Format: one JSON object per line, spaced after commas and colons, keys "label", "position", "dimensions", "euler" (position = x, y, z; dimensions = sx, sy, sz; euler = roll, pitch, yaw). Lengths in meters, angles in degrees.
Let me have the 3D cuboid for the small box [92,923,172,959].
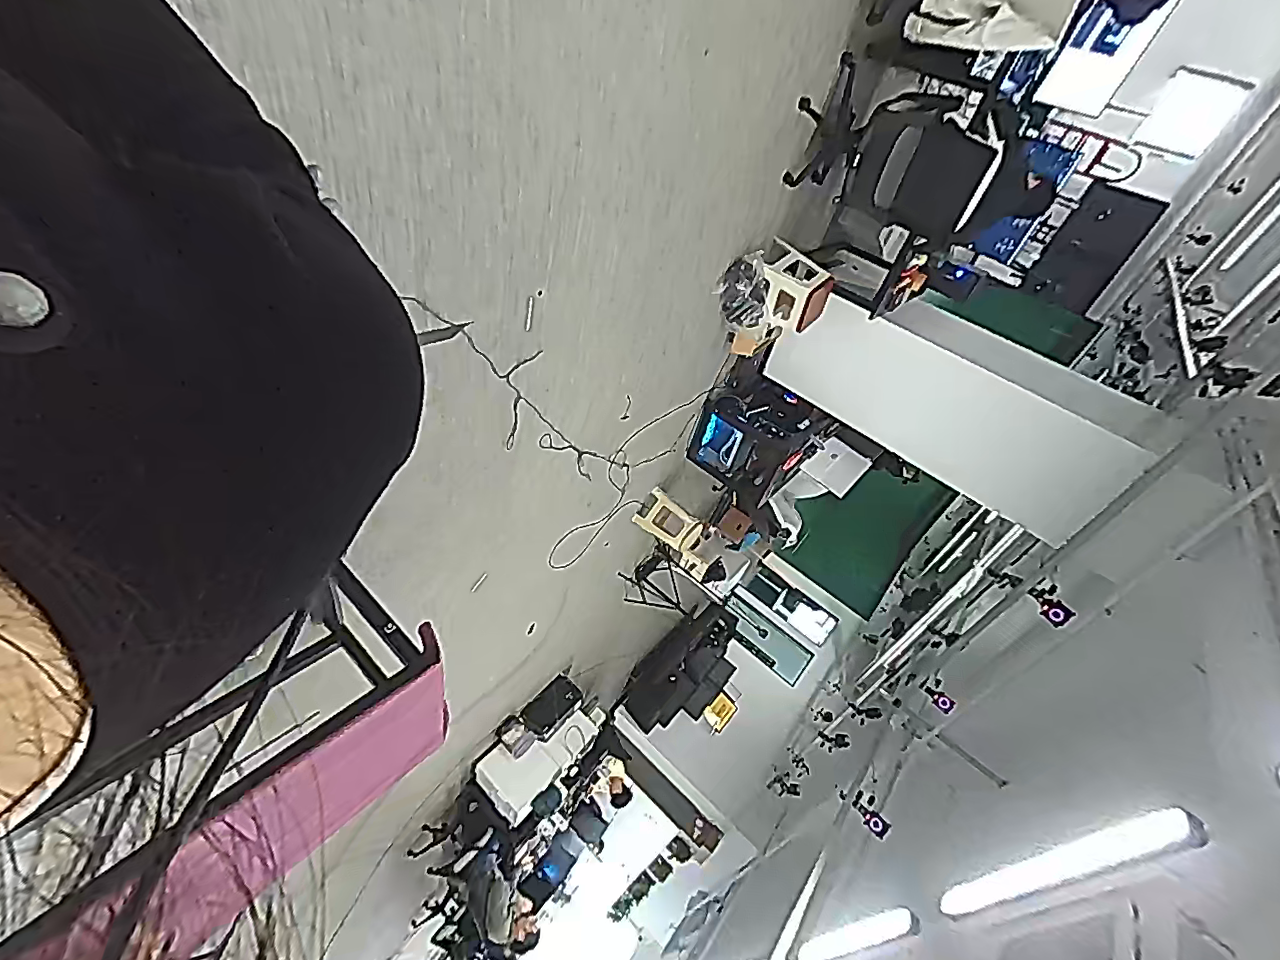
{"label": "small box", "position": [-1.145, 1.137, 1.185], "dimensions": [0.179, 0.176, 0.168], "euler": [-32, 151, -44]}
